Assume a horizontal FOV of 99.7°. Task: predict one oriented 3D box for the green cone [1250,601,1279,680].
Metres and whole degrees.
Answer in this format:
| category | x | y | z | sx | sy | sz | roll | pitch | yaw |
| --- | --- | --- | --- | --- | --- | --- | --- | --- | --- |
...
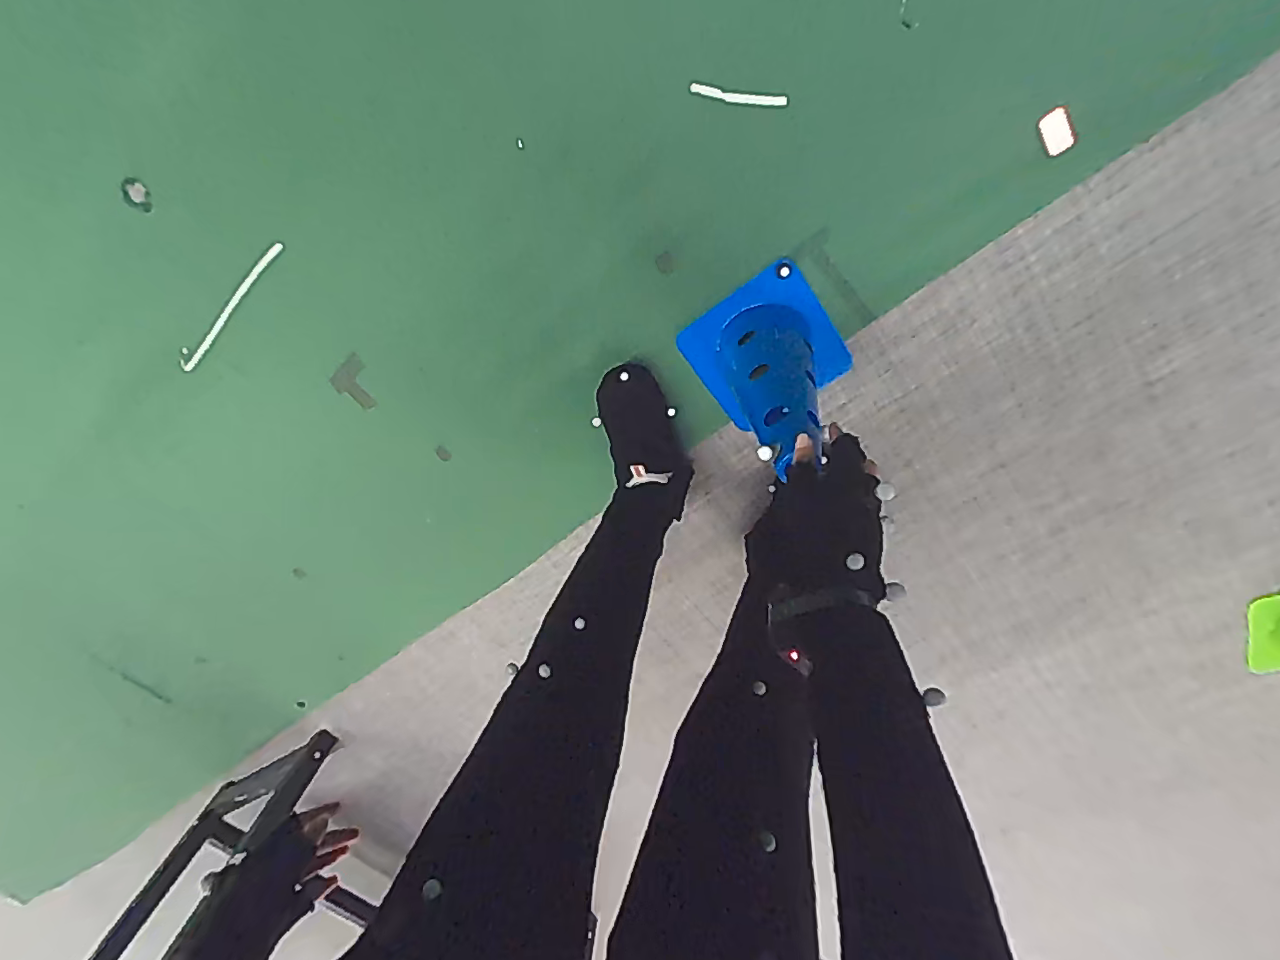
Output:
| category | x | y | z | sx | sy | sz | roll | pitch | yaw |
| --- | --- | --- | --- | --- | --- | --- | --- | --- | --- |
| green cone | 1.160 | 0.345 | 0.788 | 0.200 | 0.368 | 0.202 | -23 | 115 | 19 |
